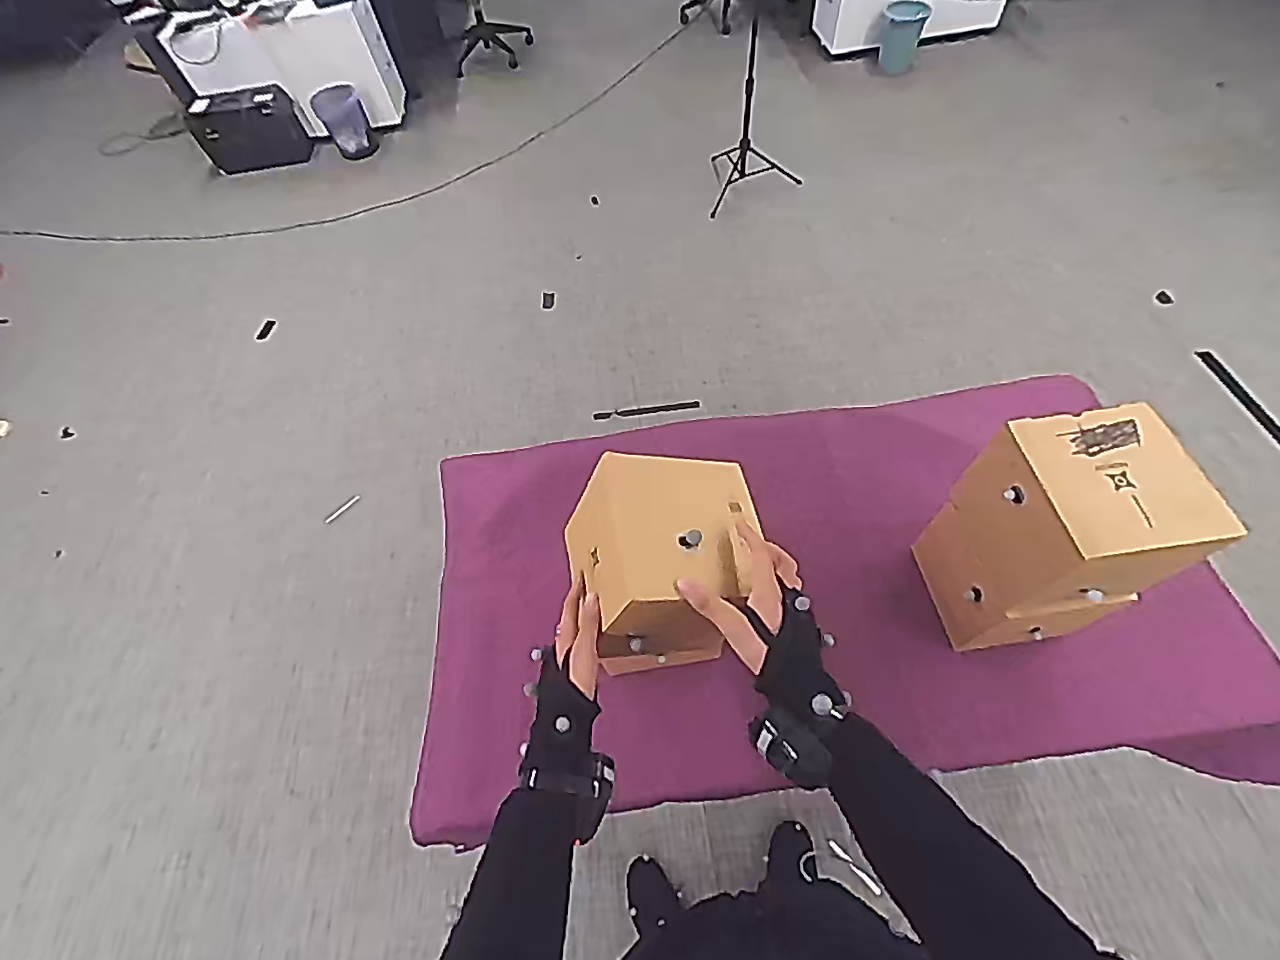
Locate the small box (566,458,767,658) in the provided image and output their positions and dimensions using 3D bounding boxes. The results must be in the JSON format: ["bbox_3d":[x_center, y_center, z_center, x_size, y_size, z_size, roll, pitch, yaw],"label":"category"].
[{"bbox_3d":[0.026,0.092,0.616,0.176,0.179,0.168,4,55,-22],"label":"small box"}]

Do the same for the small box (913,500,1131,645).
[{"bbox_3d":[0.533,0.132,0.787,0.168,0.176,0.179,-8,58,1],"label":"small box"}]

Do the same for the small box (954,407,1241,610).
[{"bbox_3d":[0.518,0.040,0.652,0.168,0.176,0.179,-8,59,1],"label":"small box"}]
